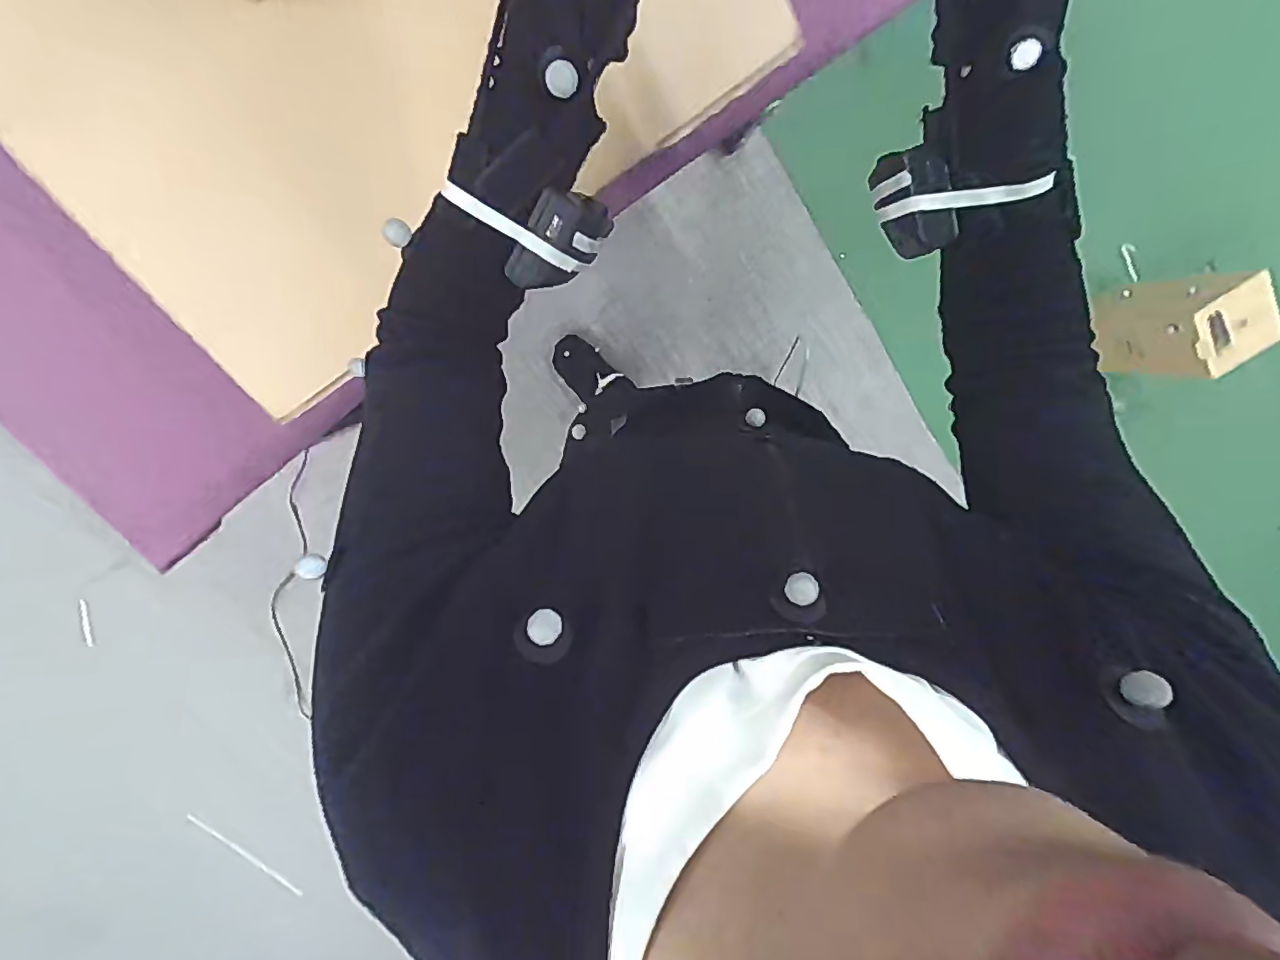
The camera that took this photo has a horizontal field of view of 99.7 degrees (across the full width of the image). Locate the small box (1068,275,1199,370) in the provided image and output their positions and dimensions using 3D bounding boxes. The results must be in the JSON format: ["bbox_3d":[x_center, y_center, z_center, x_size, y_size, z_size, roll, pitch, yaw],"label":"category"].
[{"bbox_3d":[1.260,-0.403,1.398,0.179,0.176,0.168,-33,106,5],"label":"small box"}]
